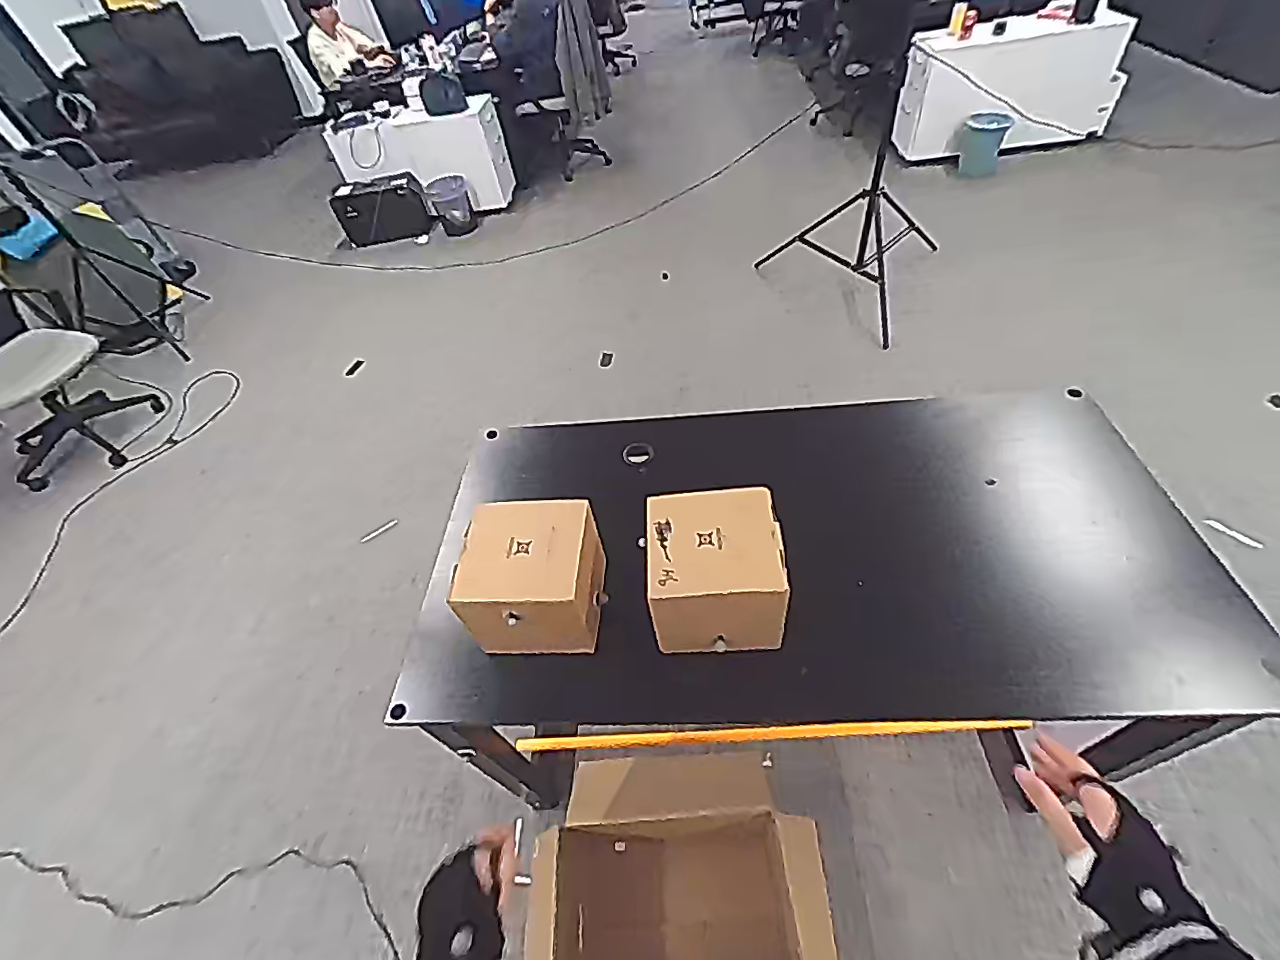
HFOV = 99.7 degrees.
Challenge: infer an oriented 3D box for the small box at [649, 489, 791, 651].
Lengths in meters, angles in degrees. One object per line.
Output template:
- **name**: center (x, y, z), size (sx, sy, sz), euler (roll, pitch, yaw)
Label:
- **small box**: center (0.105, 0.132, 0.772), size (0.179, 0.176, 0.168), euler (-4, 48, 5)

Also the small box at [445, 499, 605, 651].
- **small box**: center (-0.156, 0.145, 0.804), size (0.179, 0.176, 0.168), euler (-2, 50, 6)
